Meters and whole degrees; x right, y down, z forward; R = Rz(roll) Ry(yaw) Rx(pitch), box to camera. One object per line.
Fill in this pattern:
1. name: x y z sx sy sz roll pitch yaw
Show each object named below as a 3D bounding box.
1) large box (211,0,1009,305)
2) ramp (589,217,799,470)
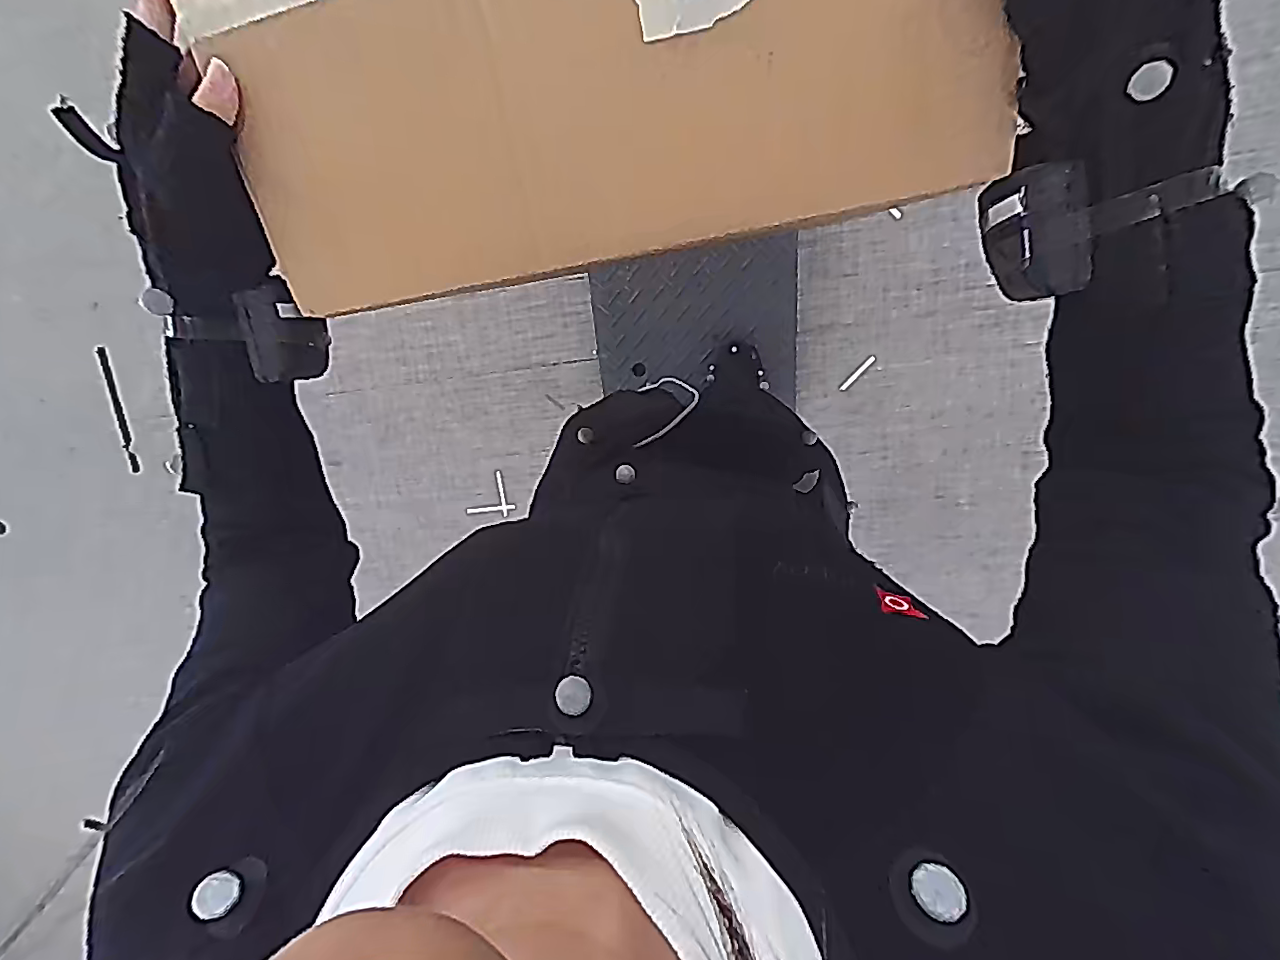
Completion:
1. large box: -0.020 -0.334 0.391 0.408 0.320 0.320 -7 112 12
2. ramp: 0.122 -0.491 1.272 0.509 0.206 0.991 -4 104 9
